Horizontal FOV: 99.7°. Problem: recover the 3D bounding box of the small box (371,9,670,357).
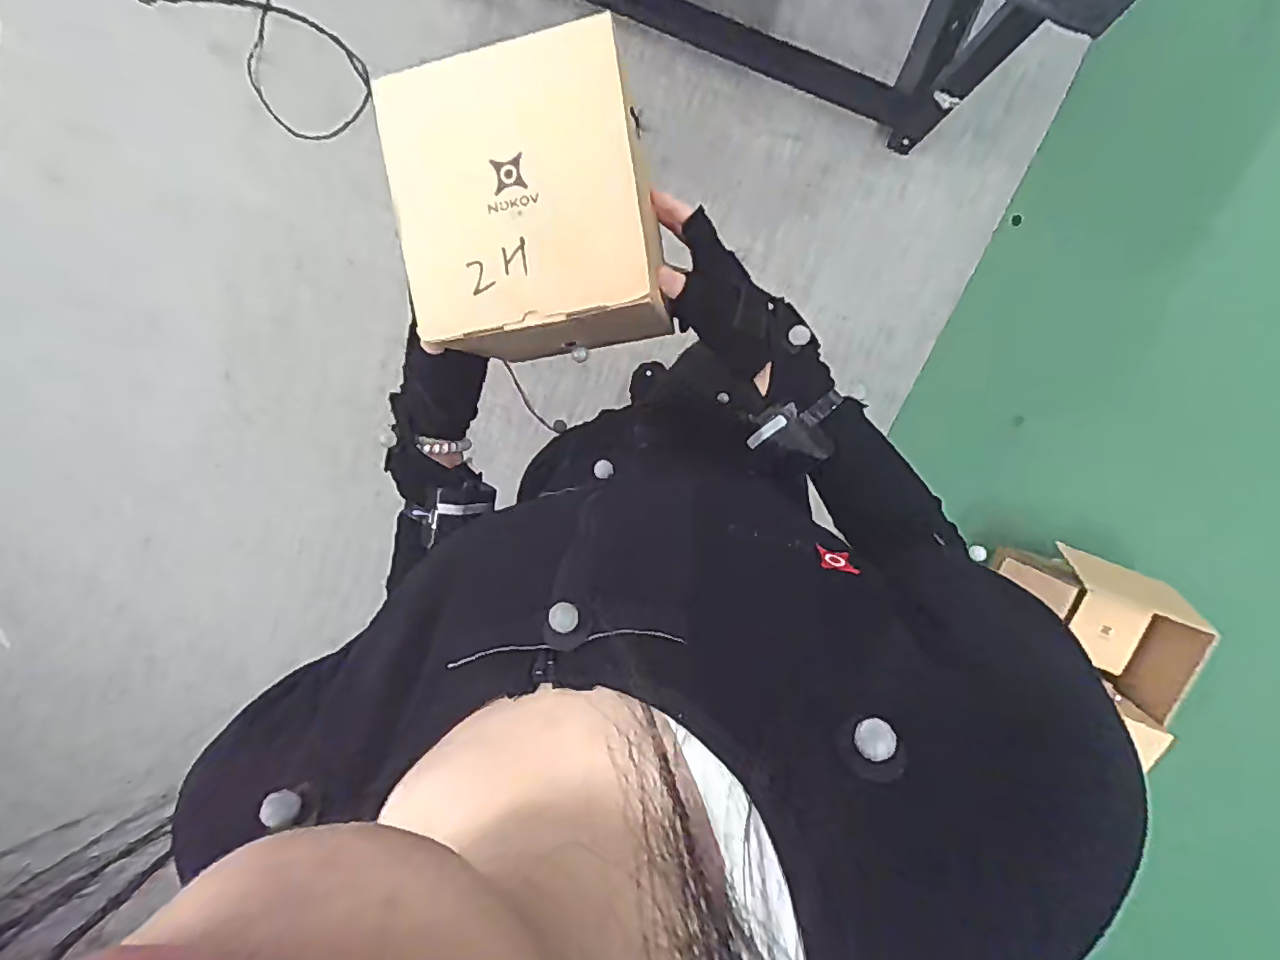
[{"bbox_3d":[-0.073,-0.203,0.428,0.168,0.176,0.179,-7,97,10],"label":"small box"}]
